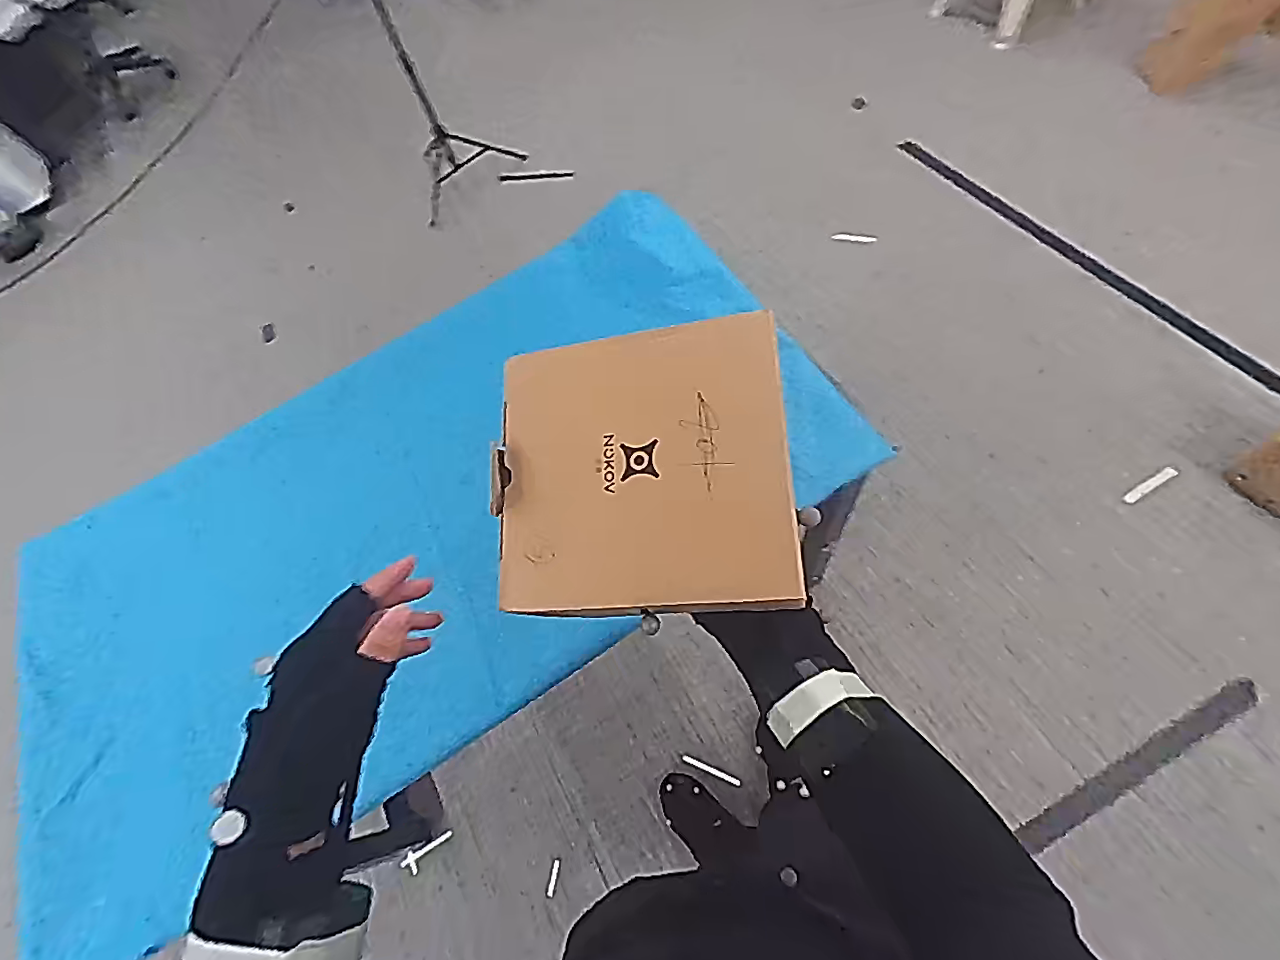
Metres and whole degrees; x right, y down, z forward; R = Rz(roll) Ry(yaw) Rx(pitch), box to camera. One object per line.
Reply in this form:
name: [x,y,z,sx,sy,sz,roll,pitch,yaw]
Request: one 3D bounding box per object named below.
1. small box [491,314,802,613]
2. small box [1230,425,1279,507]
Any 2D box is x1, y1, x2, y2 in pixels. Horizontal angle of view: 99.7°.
small box: [0.018,0.009,0.386,0.179,0.176,0.168,-5,75,16]
small box: [1.492,-0.053,1.197,0.179,0.176,0.168,-33,64,-5]
